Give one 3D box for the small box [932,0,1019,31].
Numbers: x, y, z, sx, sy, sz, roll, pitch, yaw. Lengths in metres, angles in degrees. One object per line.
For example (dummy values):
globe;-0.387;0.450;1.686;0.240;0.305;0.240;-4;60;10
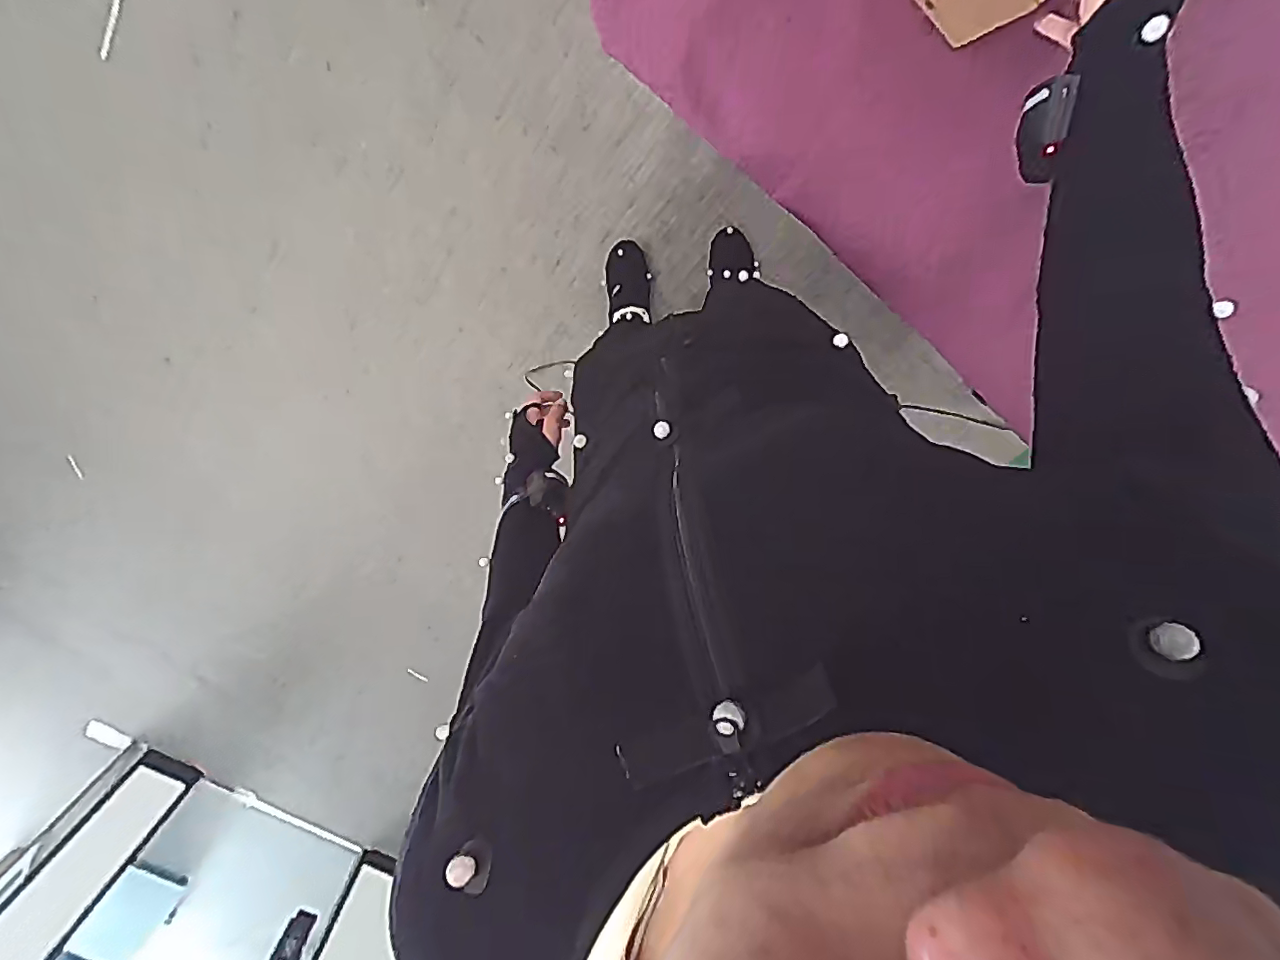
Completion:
small box;0.351;-0.571;0.499;0.168;0.176;0.179;35;116;-14
